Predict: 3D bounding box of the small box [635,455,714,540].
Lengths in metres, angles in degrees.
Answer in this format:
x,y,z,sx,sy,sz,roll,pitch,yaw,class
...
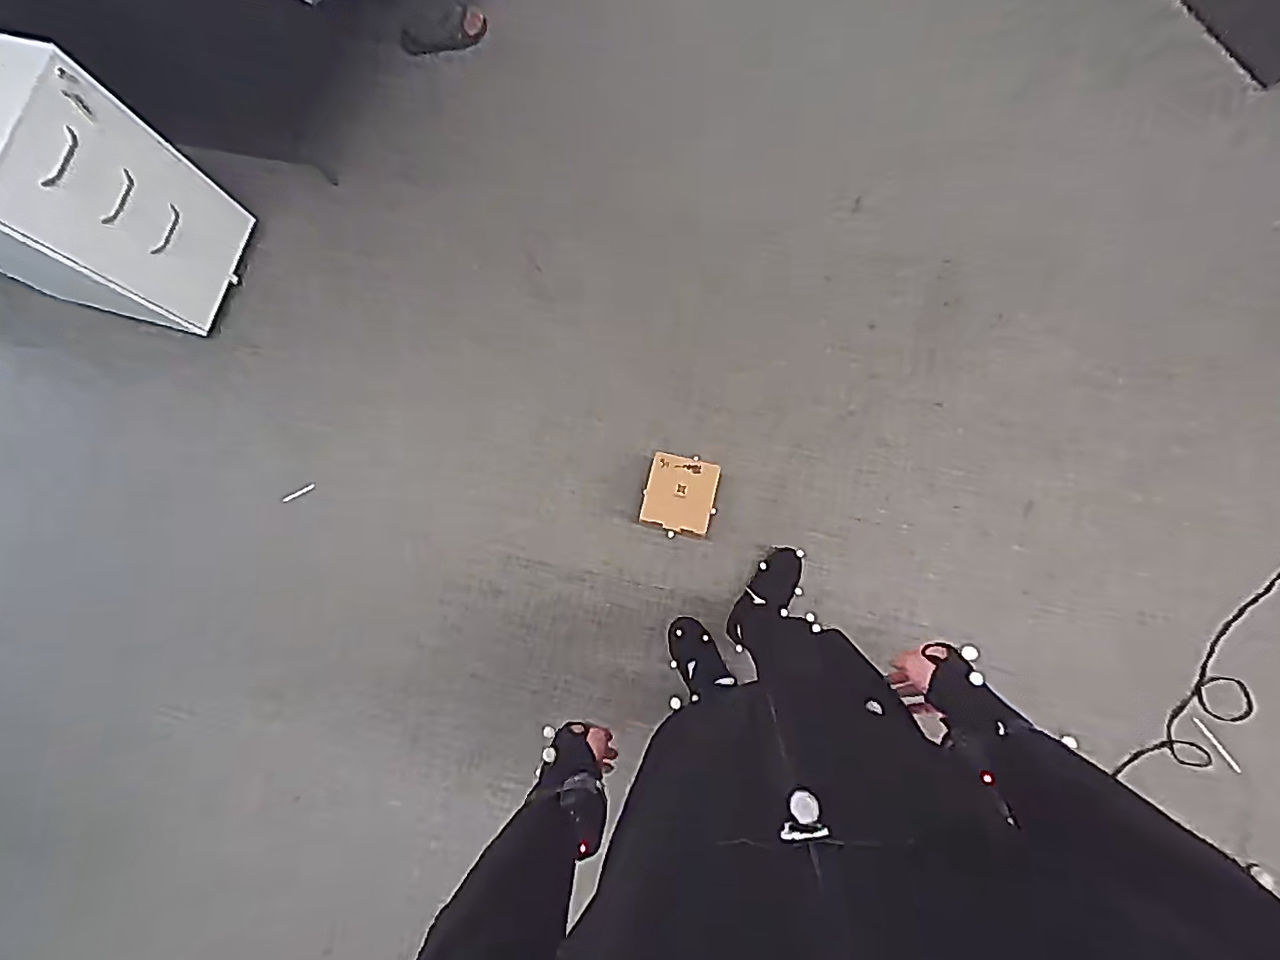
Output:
x,y,z,sx,sy,sz,roll,pitch,yaw,class
0.092,0.052,1.395,0.168,0.176,0.179,12,80,6,small box
